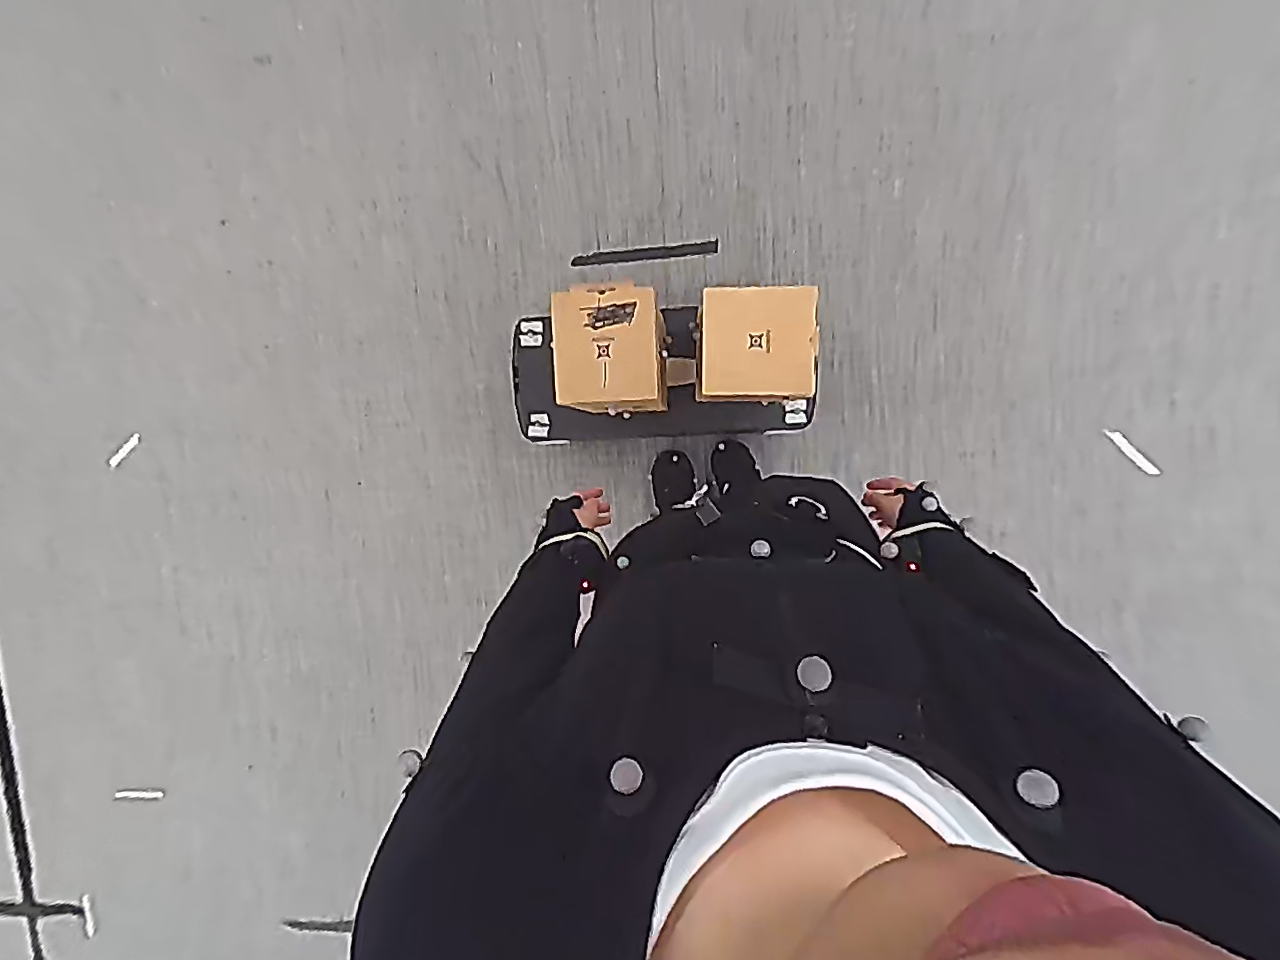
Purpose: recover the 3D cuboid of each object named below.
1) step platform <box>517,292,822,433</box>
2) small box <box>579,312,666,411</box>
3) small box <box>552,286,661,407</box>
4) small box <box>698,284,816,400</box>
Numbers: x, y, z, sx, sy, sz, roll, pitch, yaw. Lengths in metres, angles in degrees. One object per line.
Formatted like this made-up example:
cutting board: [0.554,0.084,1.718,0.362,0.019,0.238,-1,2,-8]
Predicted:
step platform: [0.063,-0.268,1.256,0.684,0.204,0.286,-3,95,6]
small box: [-0.034,-0.232,1.093,0.168,0.176,0.179,-1,95,5]
small box: [-0.050,-0.220,0.929,0.168,0.176,0.179,-2,95,5]
small box: [0.187,-0.224,0.910,0.179,0.176,0.168,0,95,4]
